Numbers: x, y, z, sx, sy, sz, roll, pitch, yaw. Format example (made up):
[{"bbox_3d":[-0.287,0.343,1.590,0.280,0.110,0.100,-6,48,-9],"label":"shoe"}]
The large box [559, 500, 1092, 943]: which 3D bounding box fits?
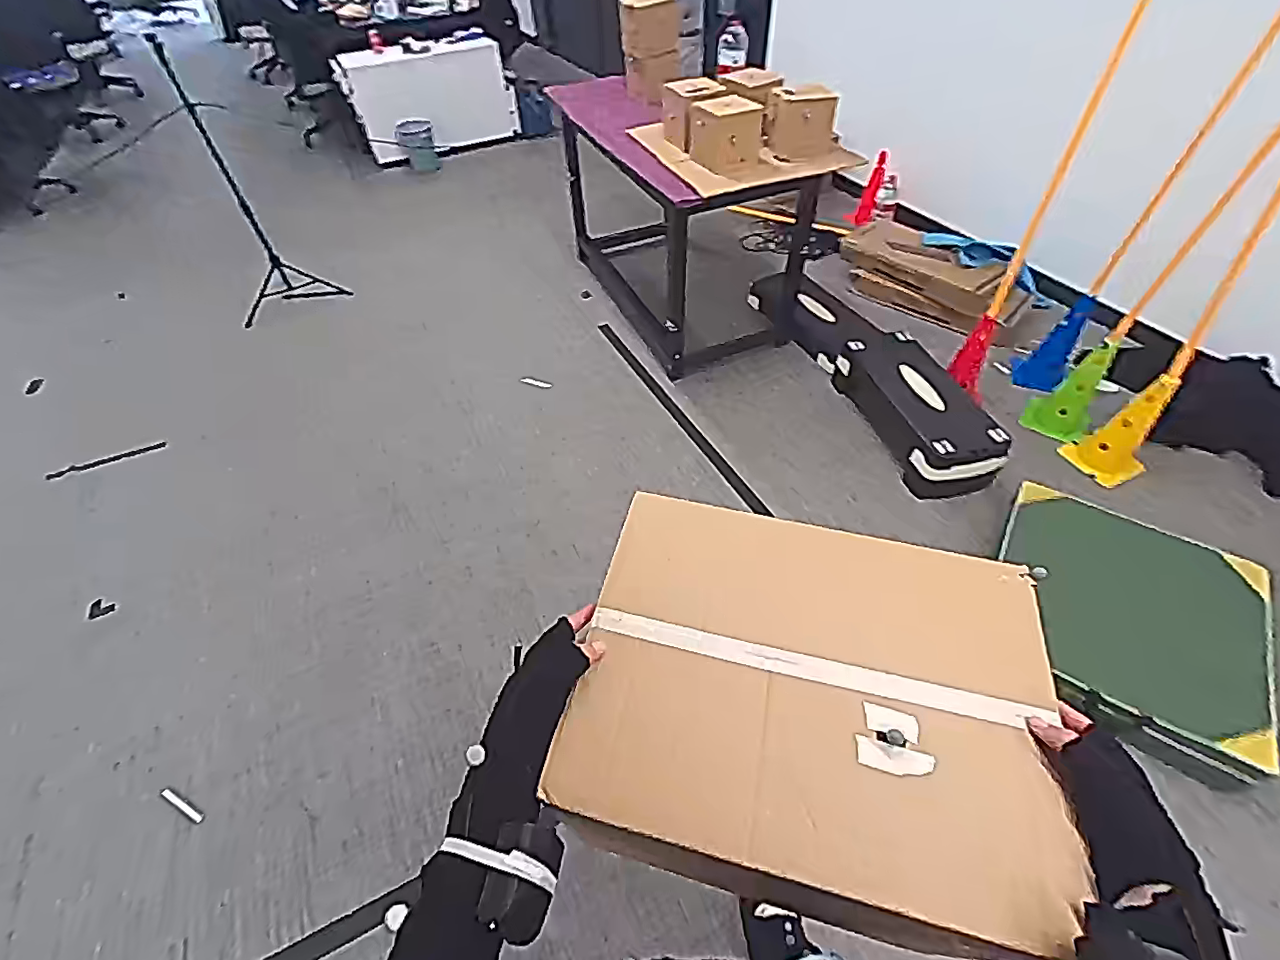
[{"bbox_3d":[0.160,0.263,0.611,0.408,0.320,0.320,11,53,10],"label":"large box"}]
